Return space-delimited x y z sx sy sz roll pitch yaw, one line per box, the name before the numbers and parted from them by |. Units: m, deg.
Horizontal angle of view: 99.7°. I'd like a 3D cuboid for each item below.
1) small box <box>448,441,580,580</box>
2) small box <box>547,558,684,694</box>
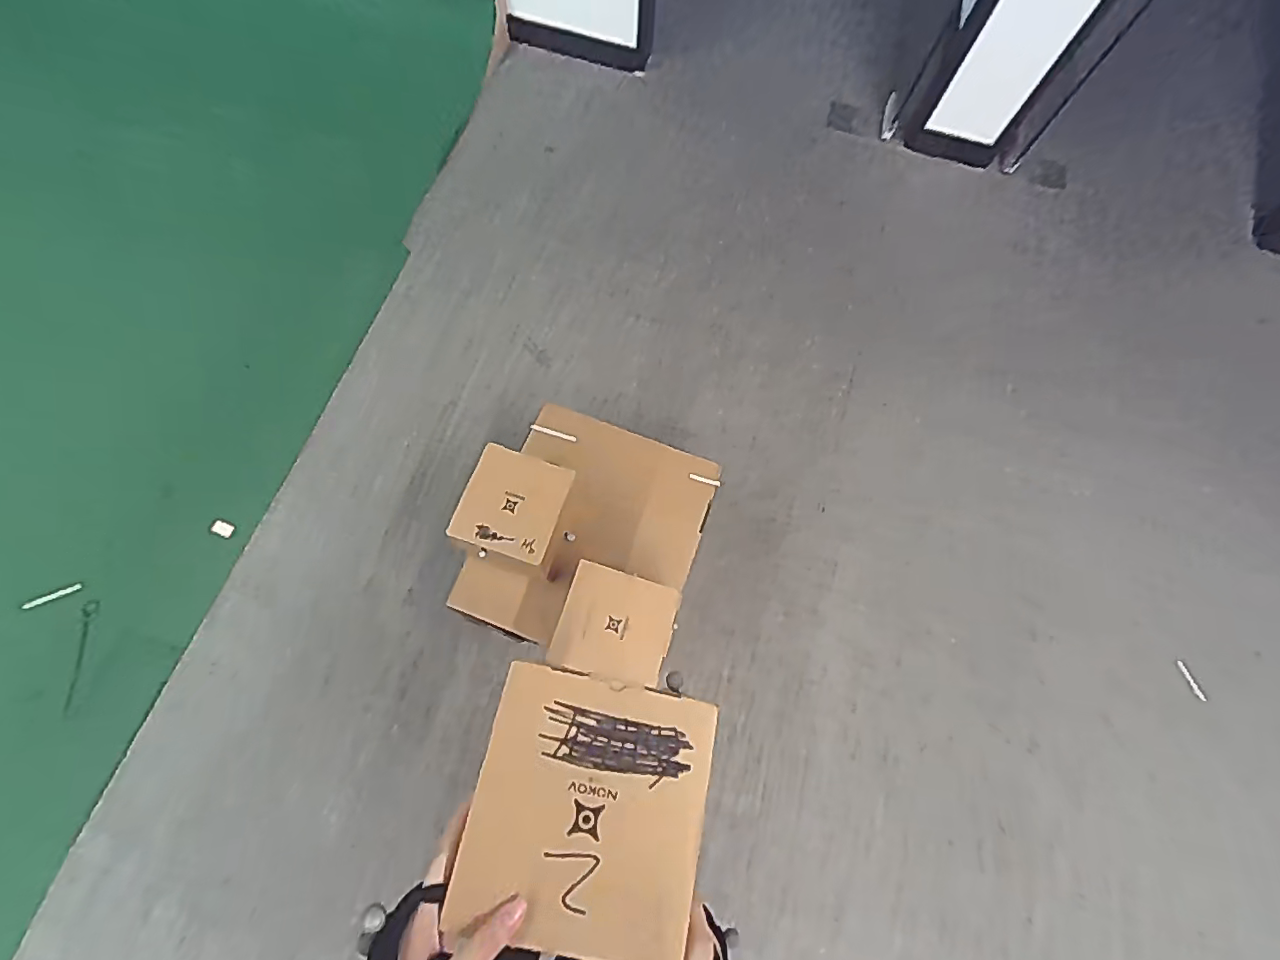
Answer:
small box | -0.212 0.061 0.966 0.168 0.176 0.179 19 70 3
small box | -0.040 0.247 0.914 0.179 0.176 0.168 18 70 2
